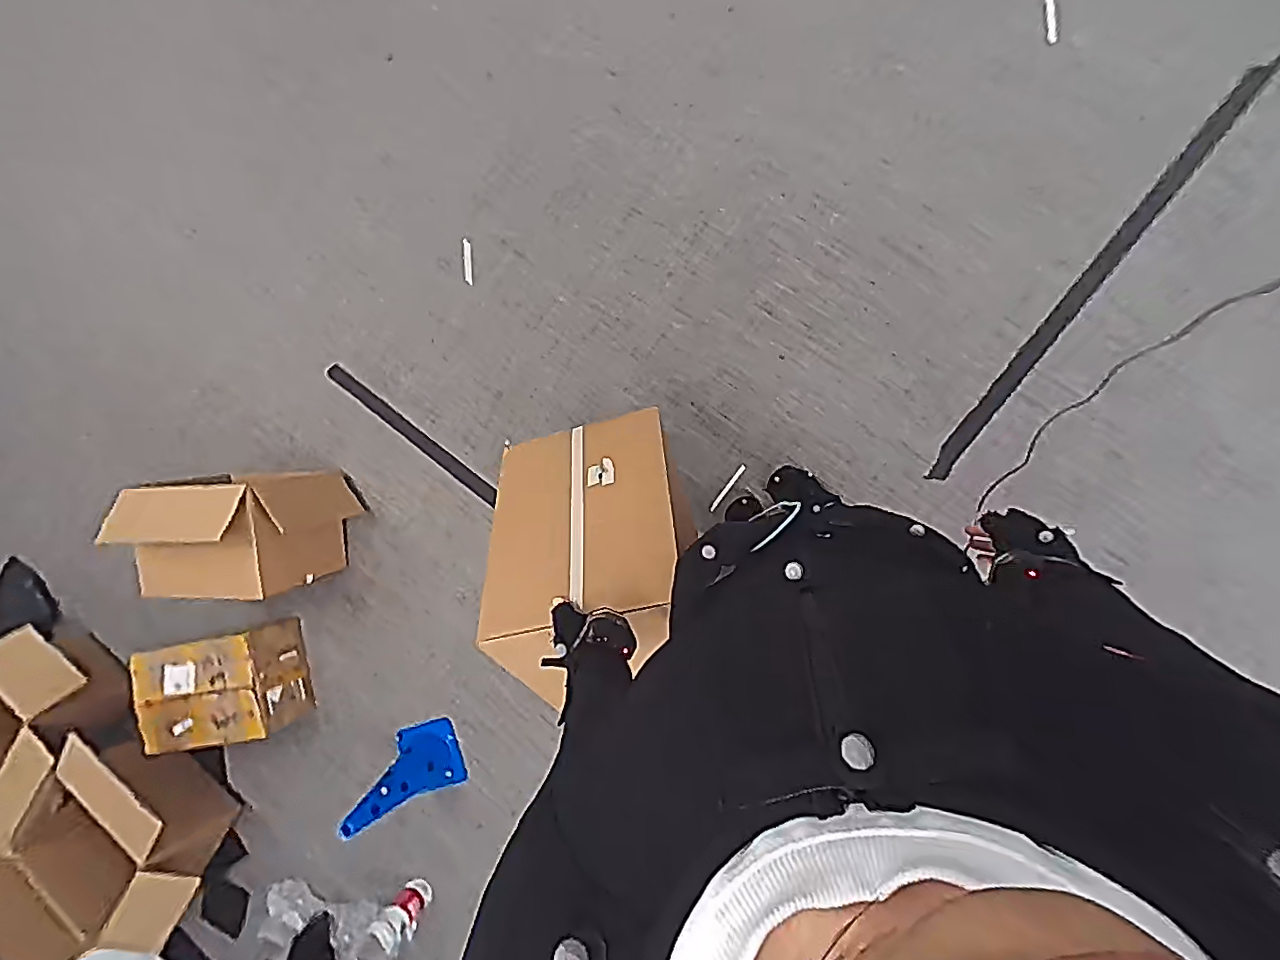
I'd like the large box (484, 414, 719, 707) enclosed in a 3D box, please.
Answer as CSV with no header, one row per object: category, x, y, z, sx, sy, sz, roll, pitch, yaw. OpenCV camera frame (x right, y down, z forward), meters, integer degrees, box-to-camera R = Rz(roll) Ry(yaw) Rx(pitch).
large box,-0.057,0.150,1.006,0.320,0.320,0.408,-12,47,9
